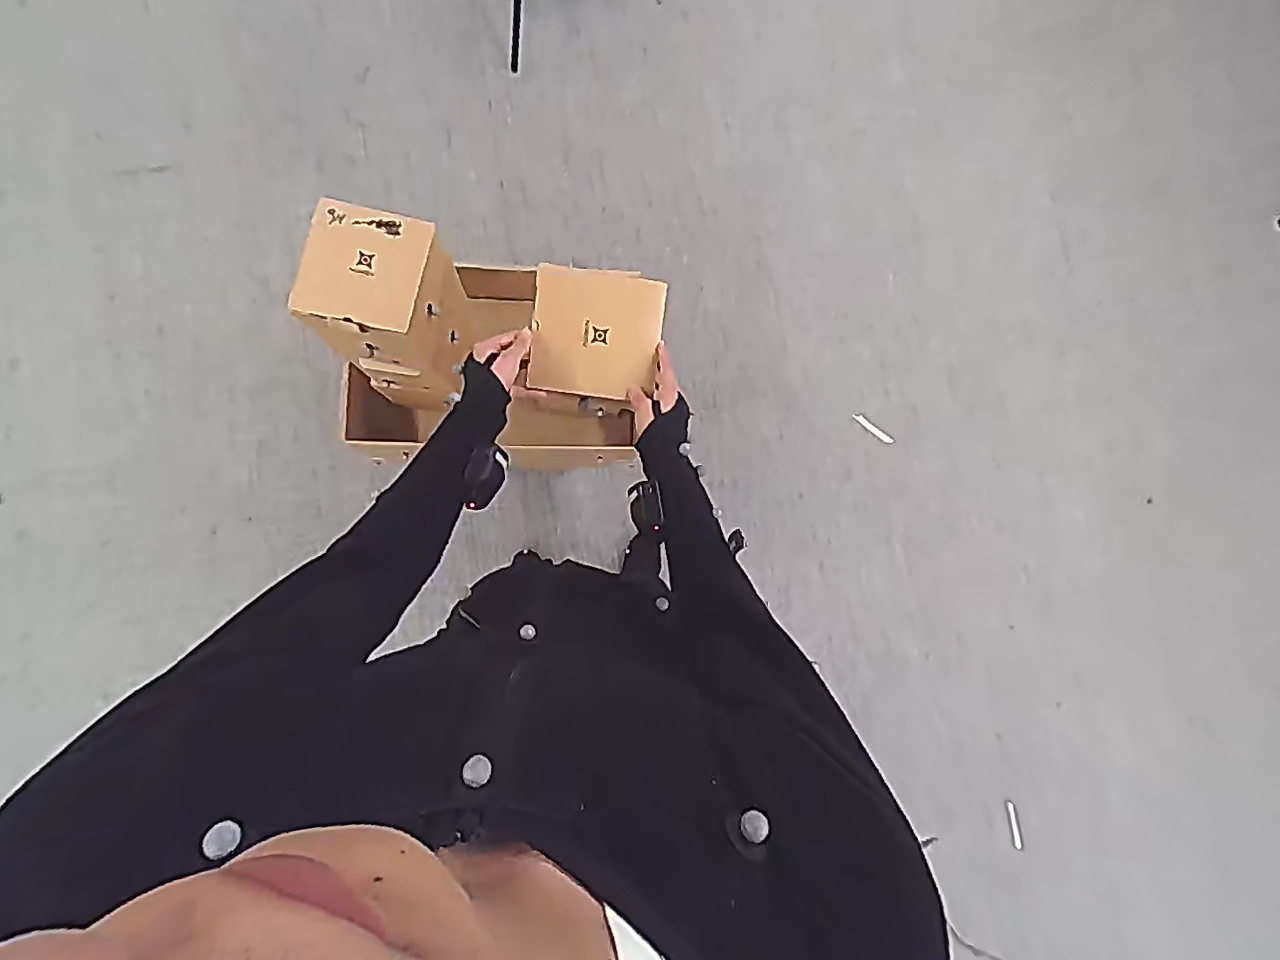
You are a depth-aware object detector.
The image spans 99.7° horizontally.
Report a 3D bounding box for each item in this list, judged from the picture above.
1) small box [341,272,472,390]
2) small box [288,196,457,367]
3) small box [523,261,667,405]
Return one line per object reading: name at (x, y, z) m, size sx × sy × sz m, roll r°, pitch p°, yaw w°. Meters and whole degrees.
small box at (-0.418, -0.278, 1.000) m, size 0.168 × 0.176 × 0.179 m, roll 8°, pitch 81°, yaw -6°
small box at (-0.397, -0.292, 0.837) m, size 0.168 × 0.176 × 0.179 m, roll 12°, pitch 82°, yaw -5°
small box at (-0.067, -0.203, 0.798) m, size 0.179 × 0.176 × 0.168 m, roll 7°, pitch 94°, yaw -6°
